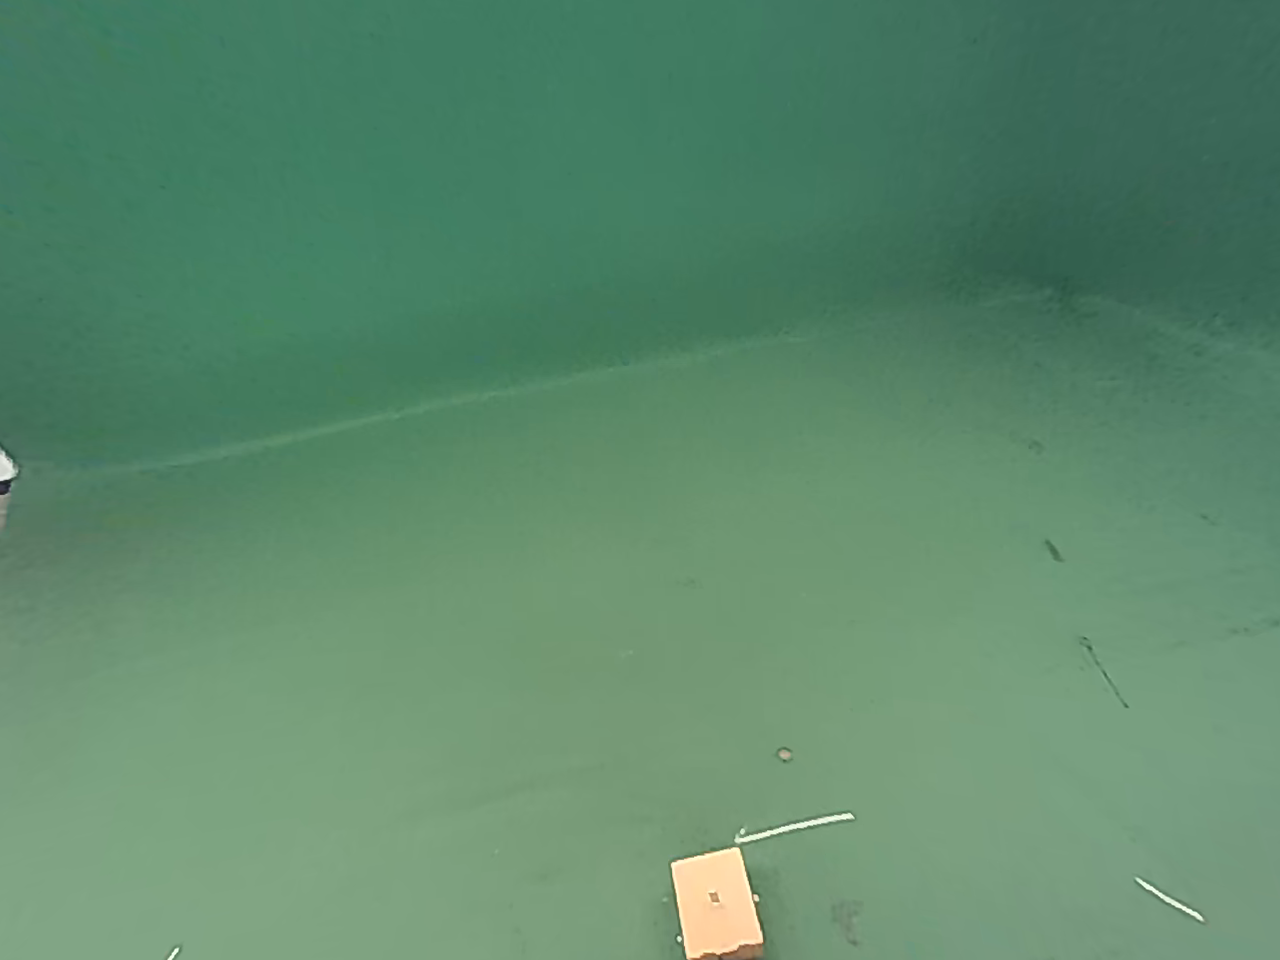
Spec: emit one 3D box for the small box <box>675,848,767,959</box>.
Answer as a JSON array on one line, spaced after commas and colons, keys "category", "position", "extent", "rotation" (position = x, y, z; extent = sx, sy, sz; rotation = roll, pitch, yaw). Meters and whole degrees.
[{"category": "small box", "position": [0.180, 0.982, 1.238], "extent": [0.168, 0.176, 0.179], "rotation": [-12, 42, -3]}]
